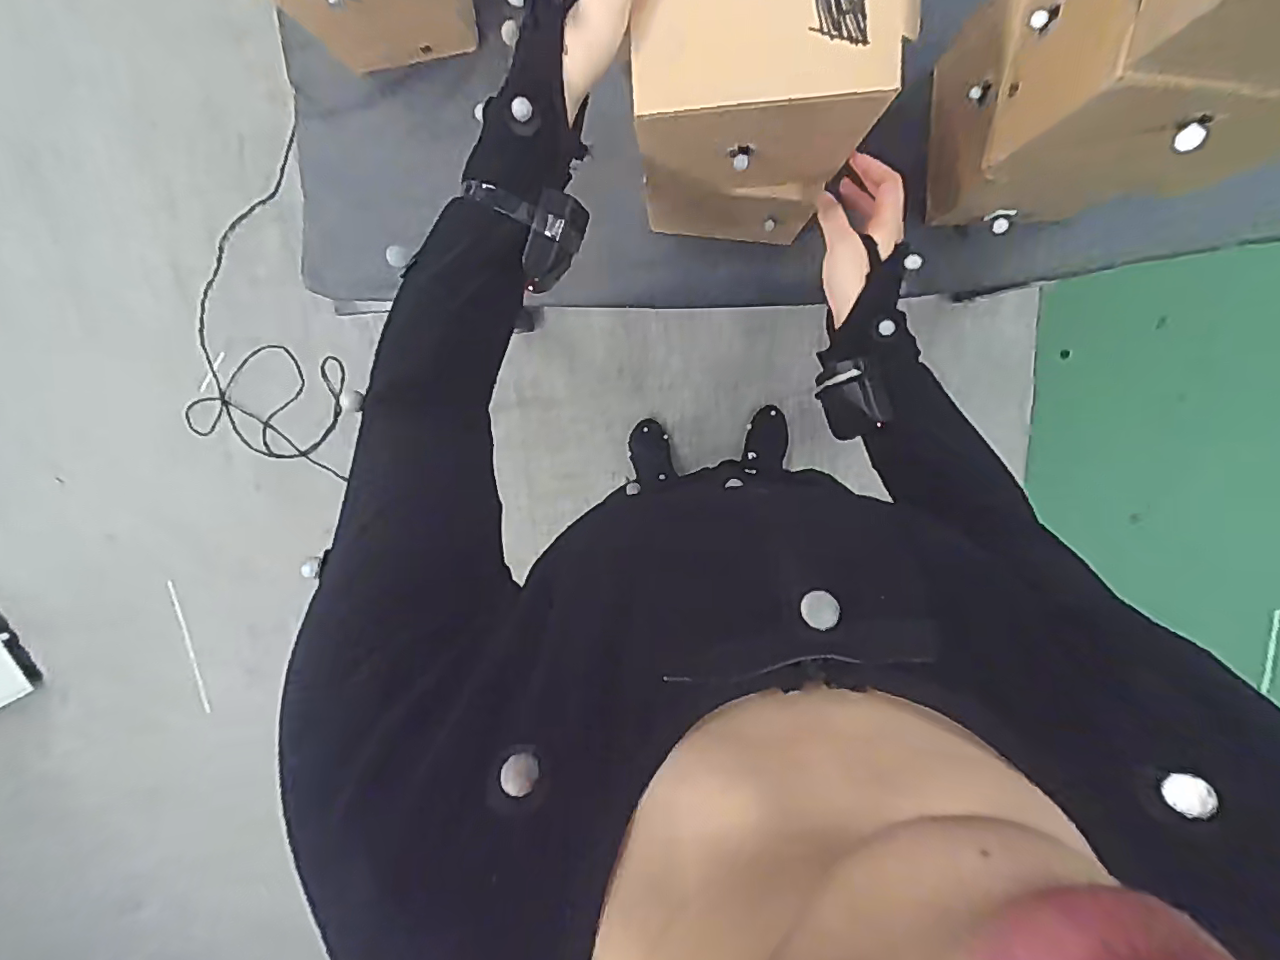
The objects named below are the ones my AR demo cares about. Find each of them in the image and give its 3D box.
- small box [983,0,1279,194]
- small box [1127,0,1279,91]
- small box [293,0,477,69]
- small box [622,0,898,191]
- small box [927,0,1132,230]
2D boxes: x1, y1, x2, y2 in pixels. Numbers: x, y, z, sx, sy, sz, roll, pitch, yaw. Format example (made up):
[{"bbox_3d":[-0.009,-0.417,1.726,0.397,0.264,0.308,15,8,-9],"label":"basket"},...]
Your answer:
[{"bbox_3d":[0.401,-0.329,0.397,0.179,0.176,0.168,10,101,5],"label":"small box"},{"bbox_3d":[0.388,-0.300,0.235,0.179,0.176,0.168,11,101,4],"label":"small box"},{"bbox_3d":[-0.290,-0.585,0.570,0.168,0.176,0.179,-6,102,6],"label":"small box"},{"bbox_3d":[0.081,-0.342,0.420,0.179,0.176,0.168,-2,101,6],"label":"small box"},{"bbox_3d":[0.415,-0.374,0.553,0.168,0.176,0.179,-1,101,6],"label":"small box"}]
